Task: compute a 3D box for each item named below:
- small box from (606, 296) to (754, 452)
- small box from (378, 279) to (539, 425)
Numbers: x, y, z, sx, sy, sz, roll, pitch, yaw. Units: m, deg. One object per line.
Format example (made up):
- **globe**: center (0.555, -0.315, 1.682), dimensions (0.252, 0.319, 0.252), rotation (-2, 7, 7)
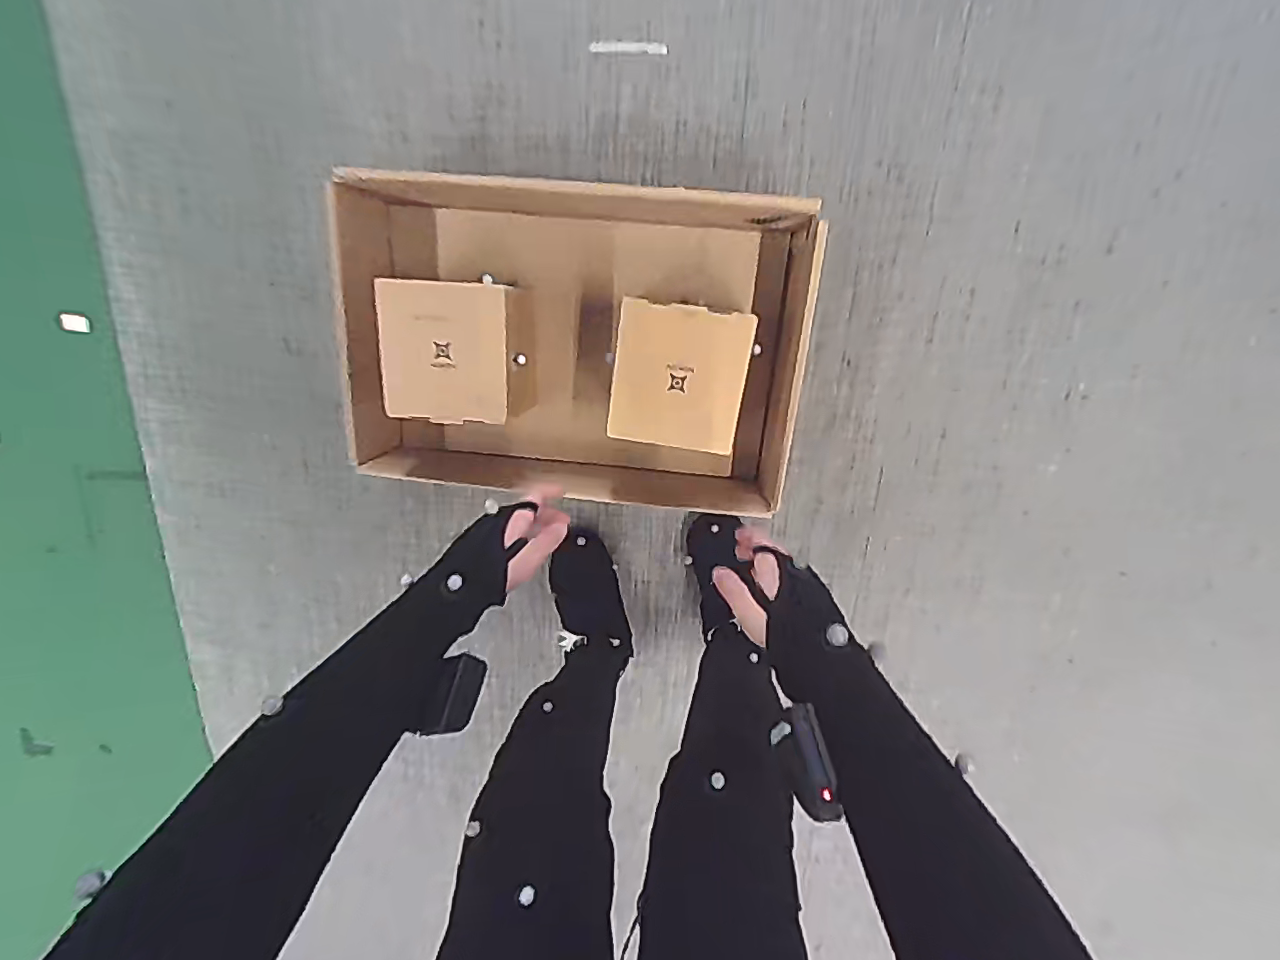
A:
- **small box**: center (0.055, -0.153, 0.748), dimensions (0.168, 0.176, 0.179), rotation (8, 108, 4)
- **small box**: center (-0.243, -0.185, 0.767), dimensions (0.168, 0.176, 0.179), rotation (4, 107, 3)
